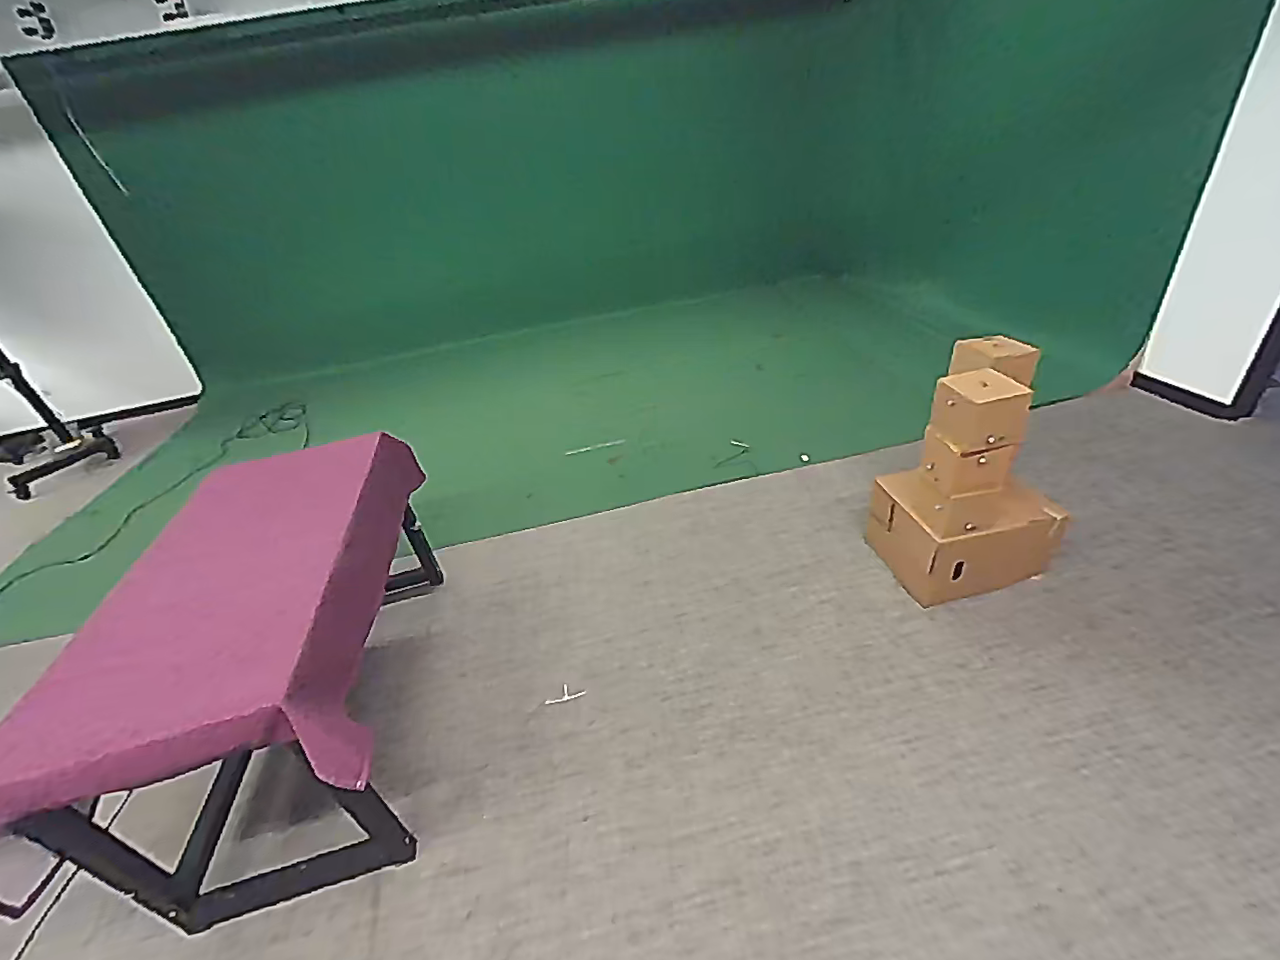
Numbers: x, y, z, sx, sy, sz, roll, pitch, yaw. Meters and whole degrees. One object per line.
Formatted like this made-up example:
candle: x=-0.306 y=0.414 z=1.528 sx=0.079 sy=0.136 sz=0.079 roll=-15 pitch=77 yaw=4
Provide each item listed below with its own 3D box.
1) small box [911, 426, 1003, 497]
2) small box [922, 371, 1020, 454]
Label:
small box: x=0.978 y=-0.069 z=1.686 sx=0.179 sy=0.176 sz=0.168 roll=-10 pitch=34 yaw=-1
small box: x=0.961 y=-0.199 z=1.590 sx=0.168 sy=0.176 sz=0.179 roll=-12 pitch=35 yaw=-4
